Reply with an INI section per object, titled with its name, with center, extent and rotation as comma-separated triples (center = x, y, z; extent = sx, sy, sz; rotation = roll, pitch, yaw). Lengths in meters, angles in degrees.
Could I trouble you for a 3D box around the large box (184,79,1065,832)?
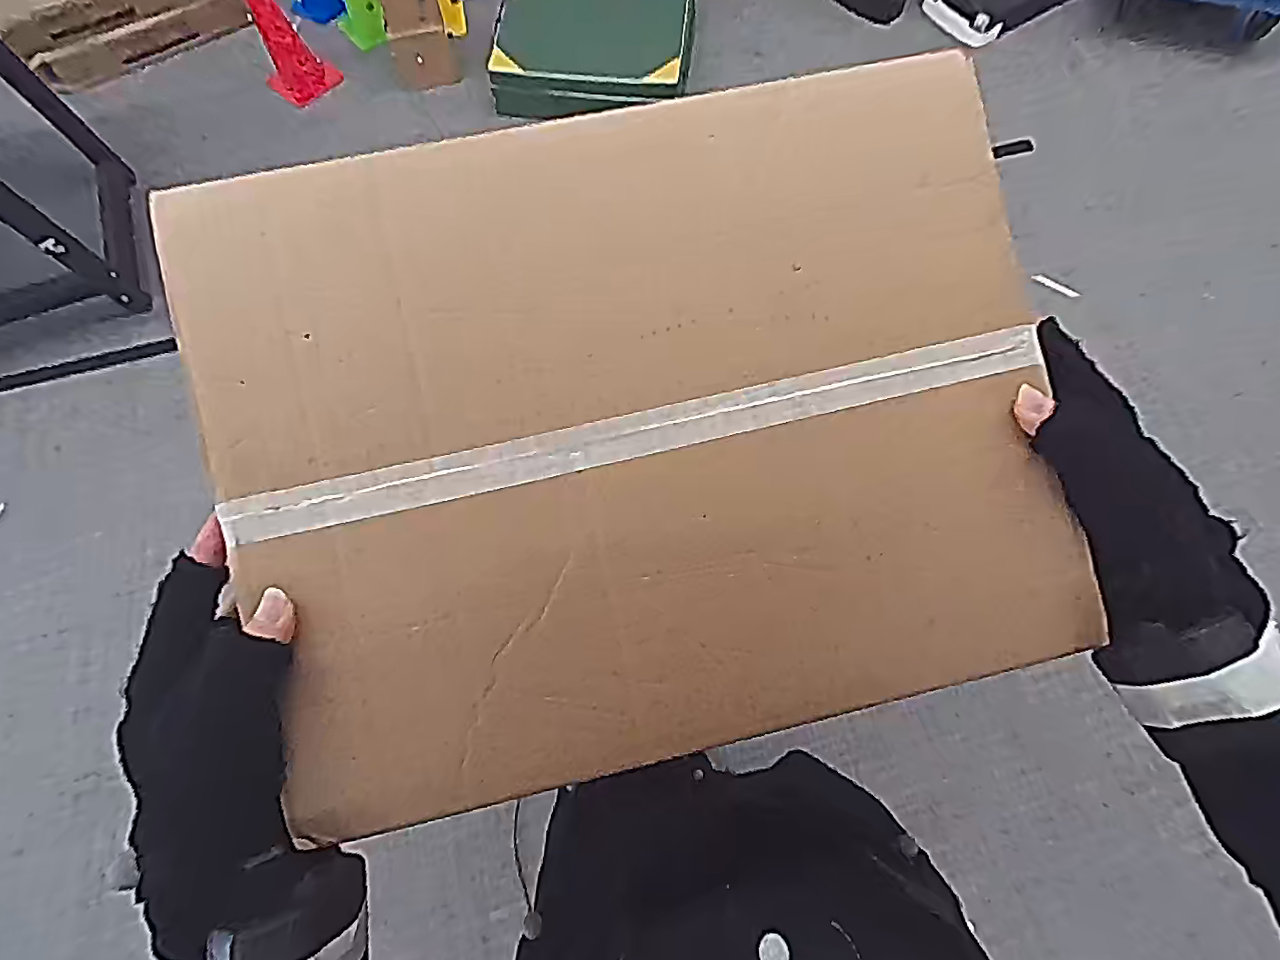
[large box]
center = -0.005, -0.020, 0.423
extent = 0.408, 0.320, 0.320
rotation = -13, 89, -4
